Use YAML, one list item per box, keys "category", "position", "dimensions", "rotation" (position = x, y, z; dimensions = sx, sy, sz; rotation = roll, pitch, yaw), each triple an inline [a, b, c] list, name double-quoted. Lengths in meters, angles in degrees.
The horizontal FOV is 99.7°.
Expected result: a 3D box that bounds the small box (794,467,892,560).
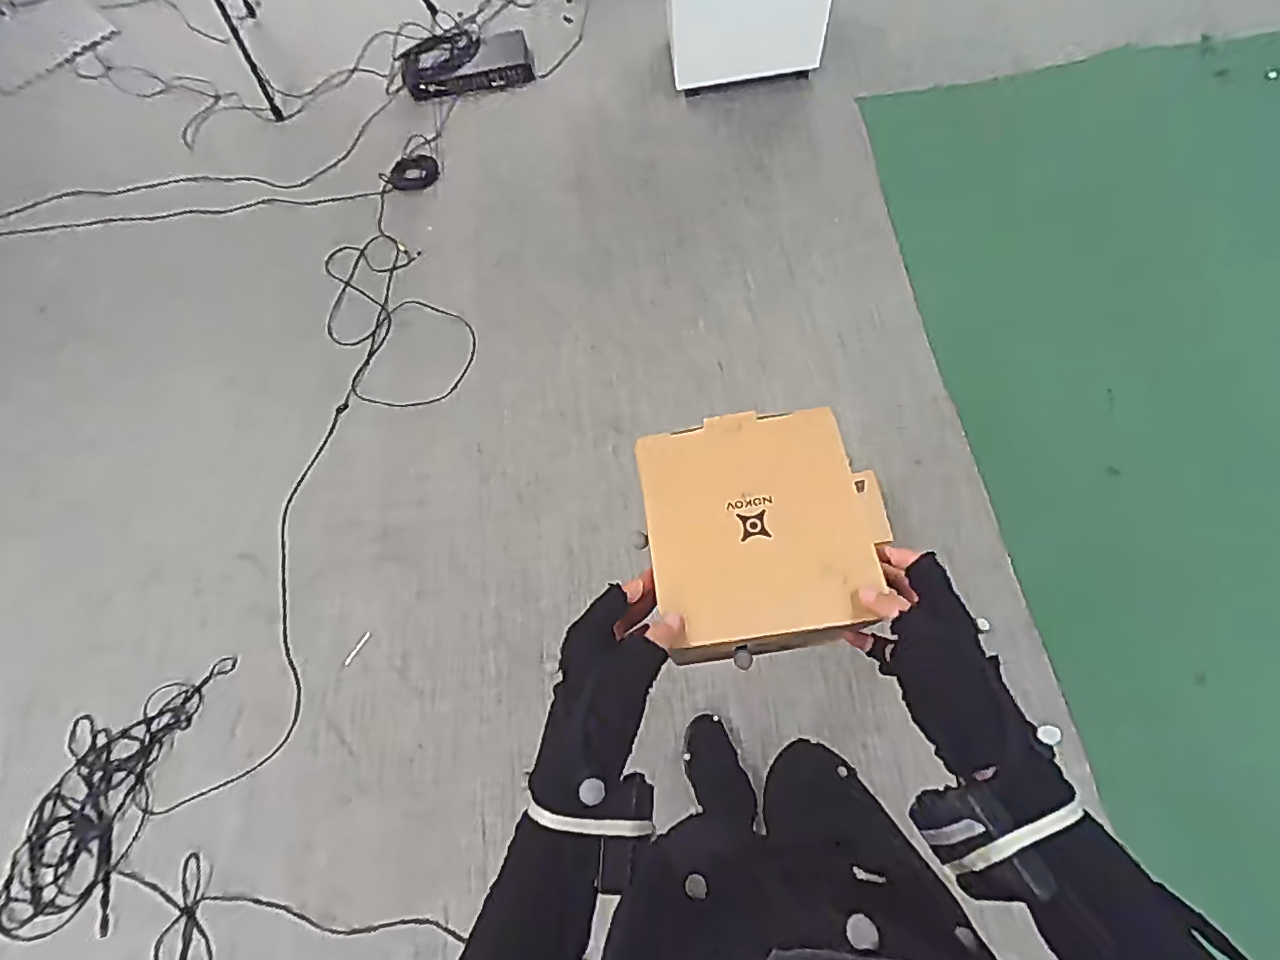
- category: "small box"
  position: [0.484, 0.086, 1.318]
  dimensions: [0.168, 0.176, 0.179]
  rotation: [-8, 70, 3]
